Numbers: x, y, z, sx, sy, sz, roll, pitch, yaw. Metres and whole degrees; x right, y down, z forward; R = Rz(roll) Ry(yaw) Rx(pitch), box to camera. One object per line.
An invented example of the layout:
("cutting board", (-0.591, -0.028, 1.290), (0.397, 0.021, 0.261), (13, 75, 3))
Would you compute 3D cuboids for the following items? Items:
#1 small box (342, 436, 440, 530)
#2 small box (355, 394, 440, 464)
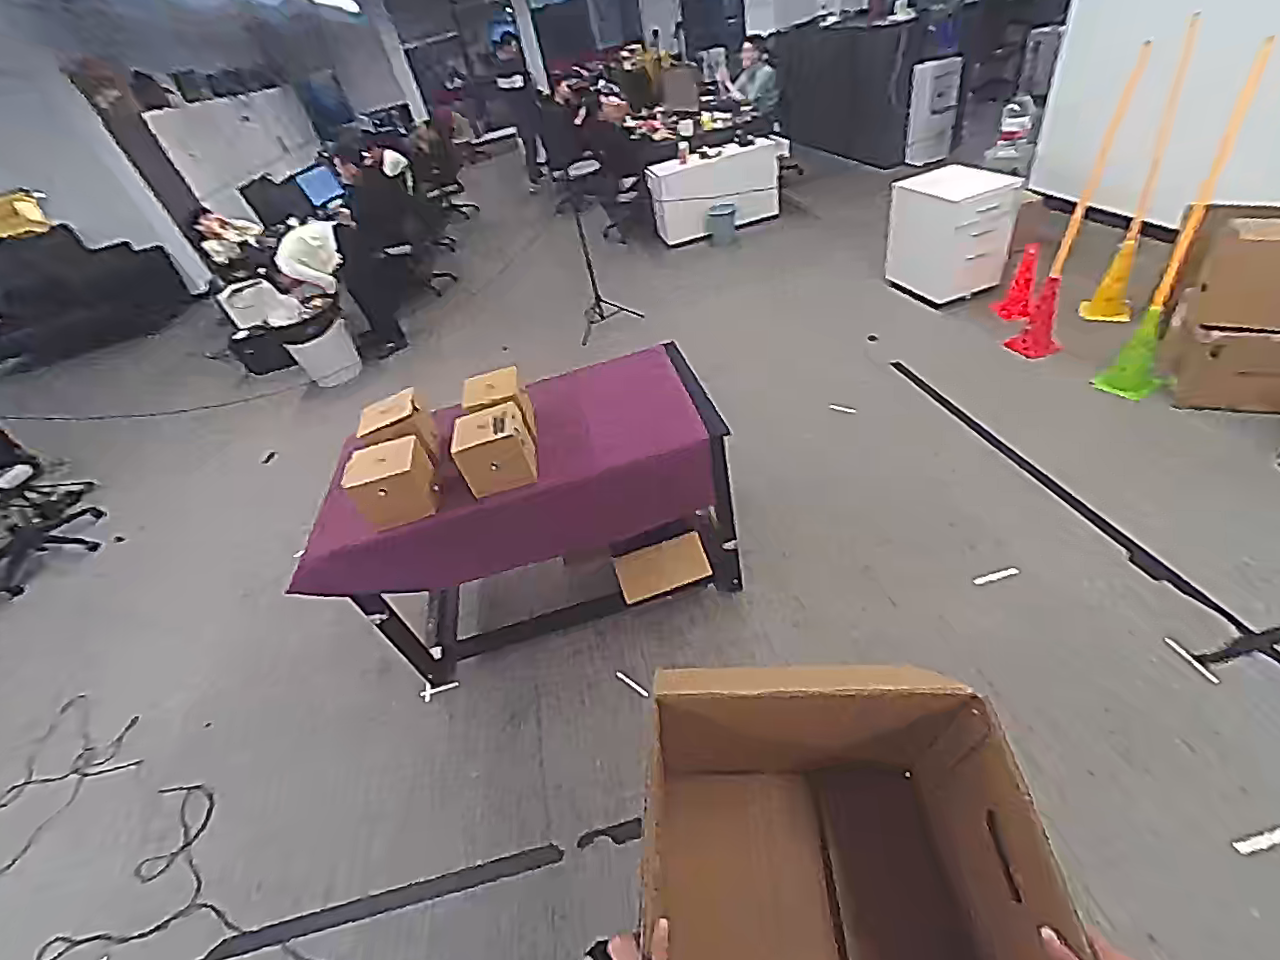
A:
("small box", (-0.671, 0.013, 1.475), (0.179, 0.176, 0.168), (-17, 41, -3))
("small box", (-0.737, -0.131, 1.658), (0.179, 0.176, 0.168), (-18, 41, -5))
